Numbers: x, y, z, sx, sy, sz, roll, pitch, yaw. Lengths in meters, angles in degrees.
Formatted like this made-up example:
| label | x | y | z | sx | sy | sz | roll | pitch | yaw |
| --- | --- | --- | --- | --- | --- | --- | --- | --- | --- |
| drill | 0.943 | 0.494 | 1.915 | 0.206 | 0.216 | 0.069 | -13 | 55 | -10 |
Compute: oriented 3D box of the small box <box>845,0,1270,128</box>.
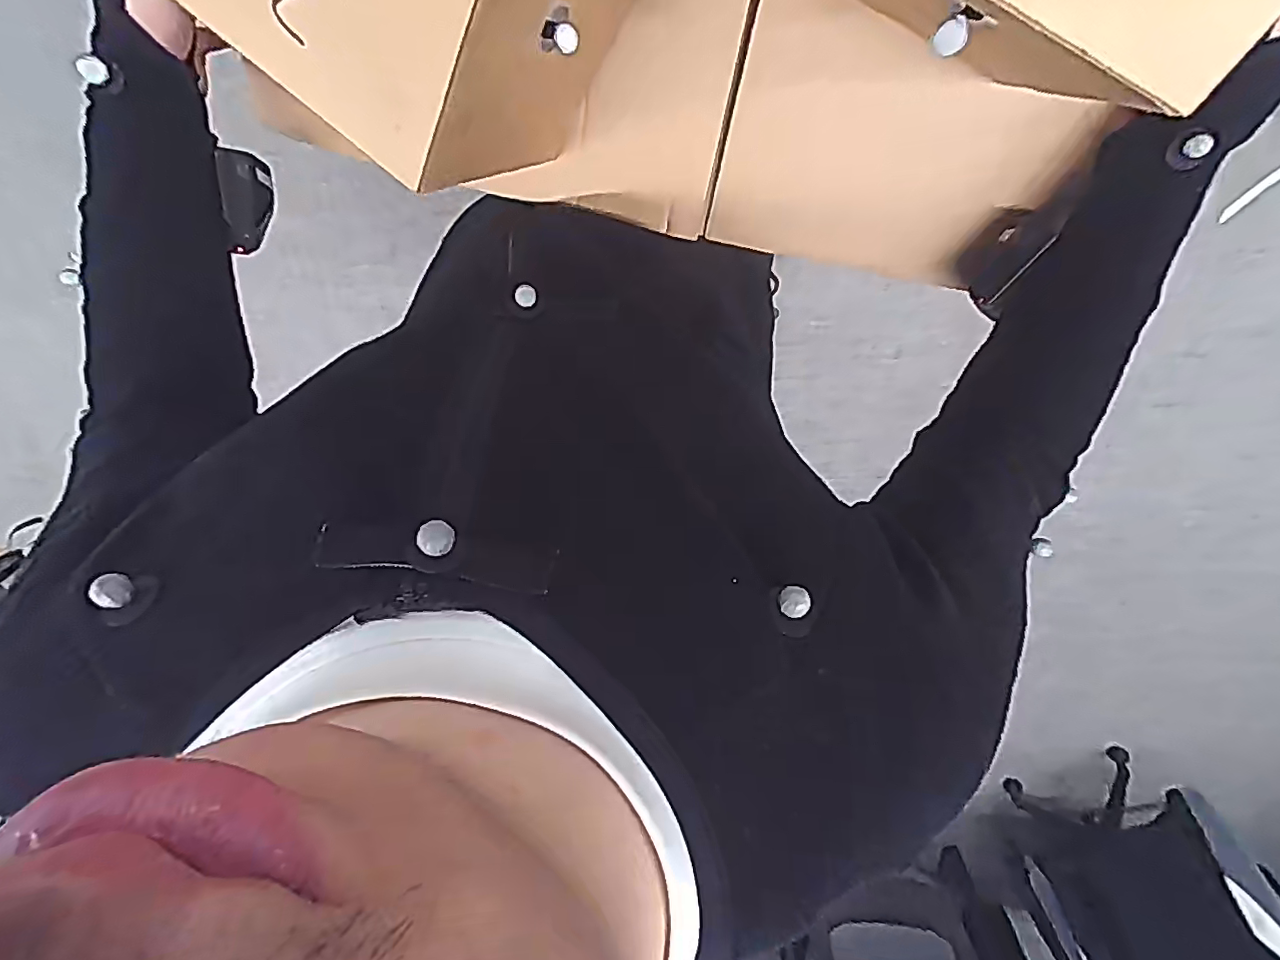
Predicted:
| label | x | y | z | sx | sy | sz | roll | pitch | yaw |
| --- | --- | --- | --- | --- | --- | --- | --- | --- | --- |
| small box | 0.189 | -0.293 | 0.237 | 0.179 | 0.176 | 0.168 | 21 | 129 | -10 |
